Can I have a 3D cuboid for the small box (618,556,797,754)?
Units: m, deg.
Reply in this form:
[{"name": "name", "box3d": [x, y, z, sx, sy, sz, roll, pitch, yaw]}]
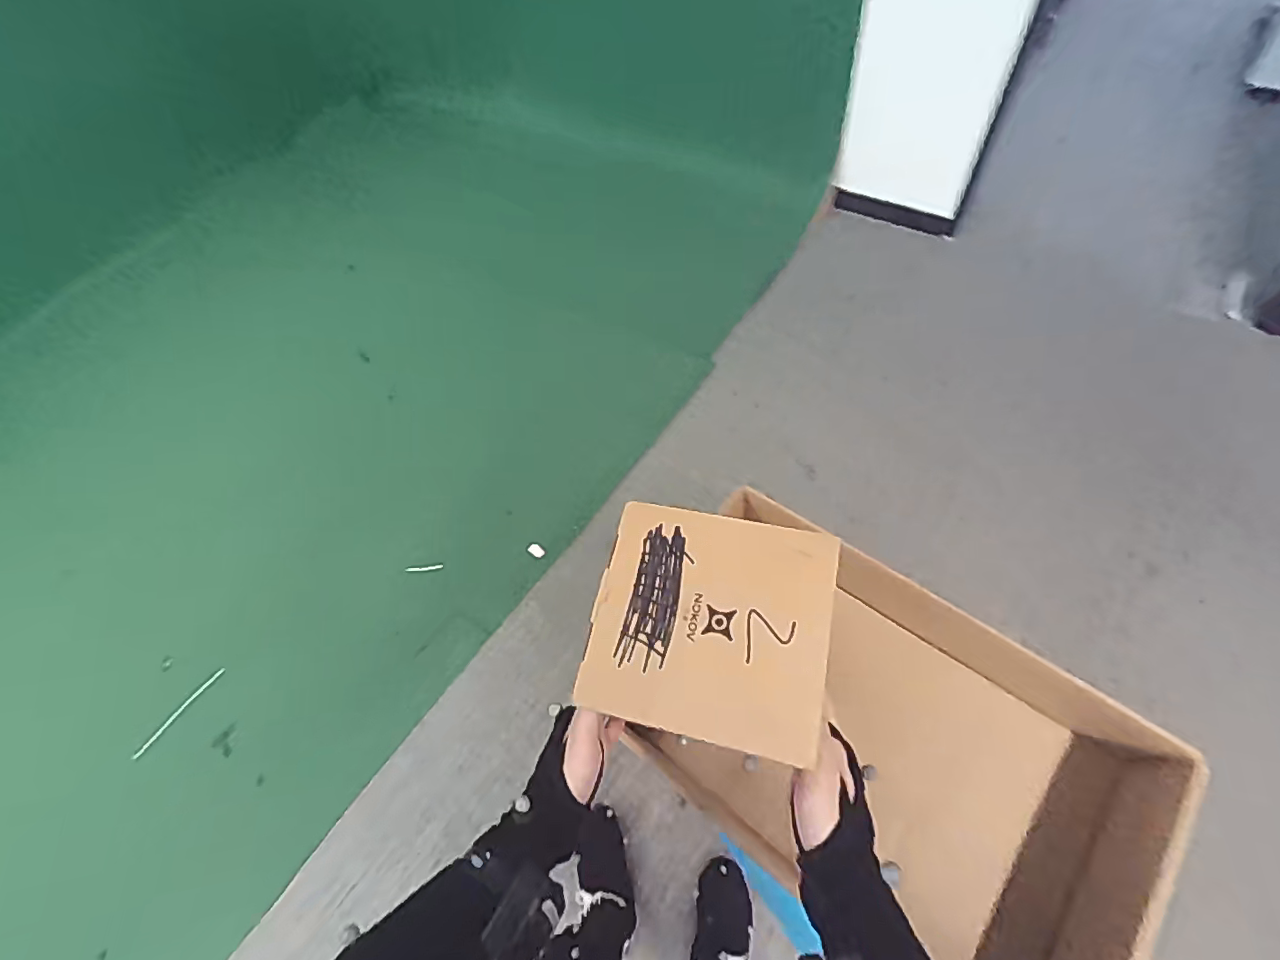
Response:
[{"name": "small box", "box3d": [0.083, 0.203, 0.619, 0.168, 0.176, 0.179, 4, 65, 13]}]
